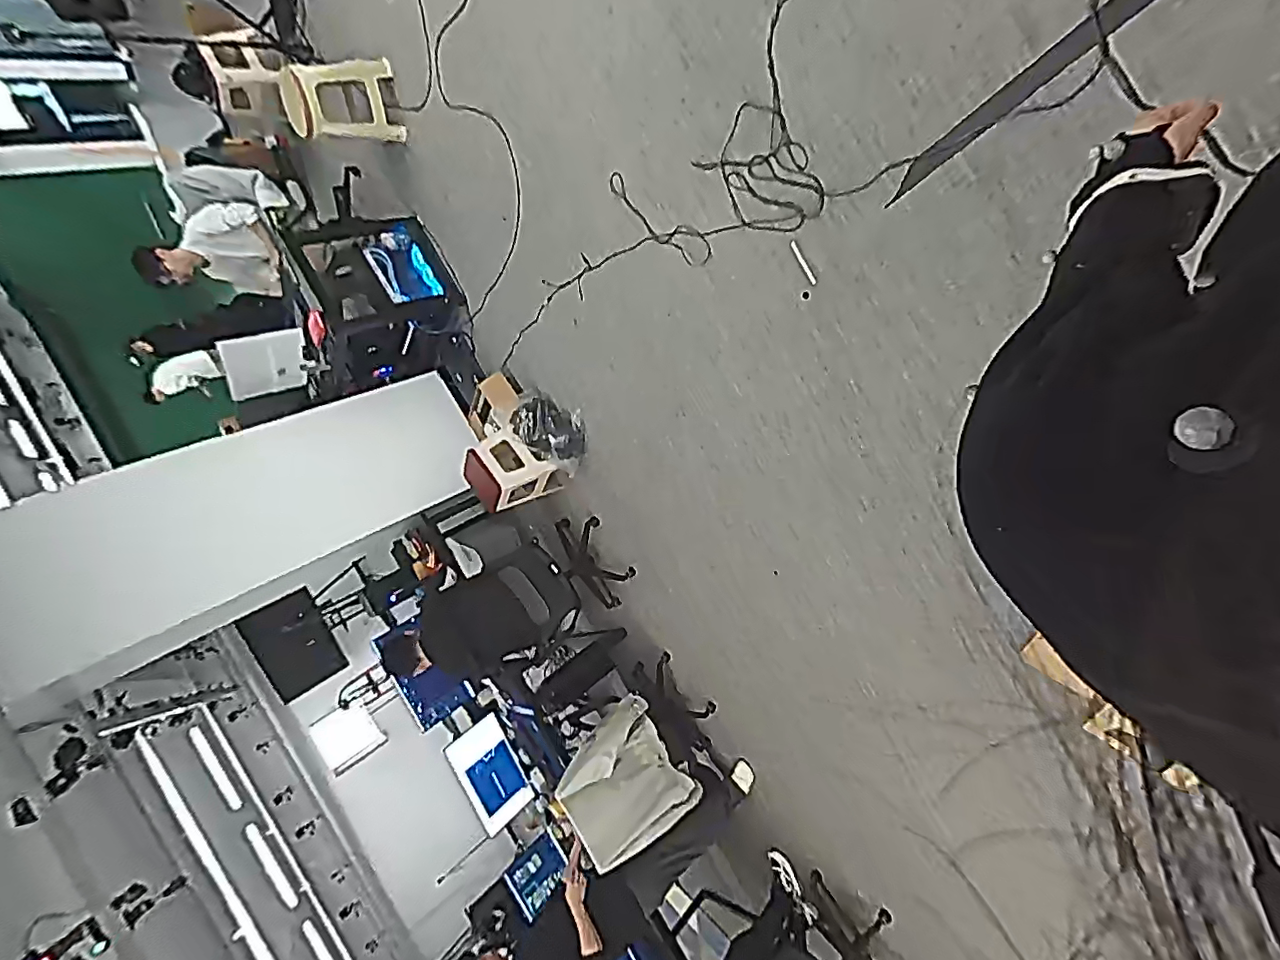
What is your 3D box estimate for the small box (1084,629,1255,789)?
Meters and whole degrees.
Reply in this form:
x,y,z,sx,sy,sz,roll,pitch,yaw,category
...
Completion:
x,y,z,sx,sy,sz,roll,pitch,yaw,category
0.985,0.419,1.007,0.168,0.176,0.179,33,136,33,small box
